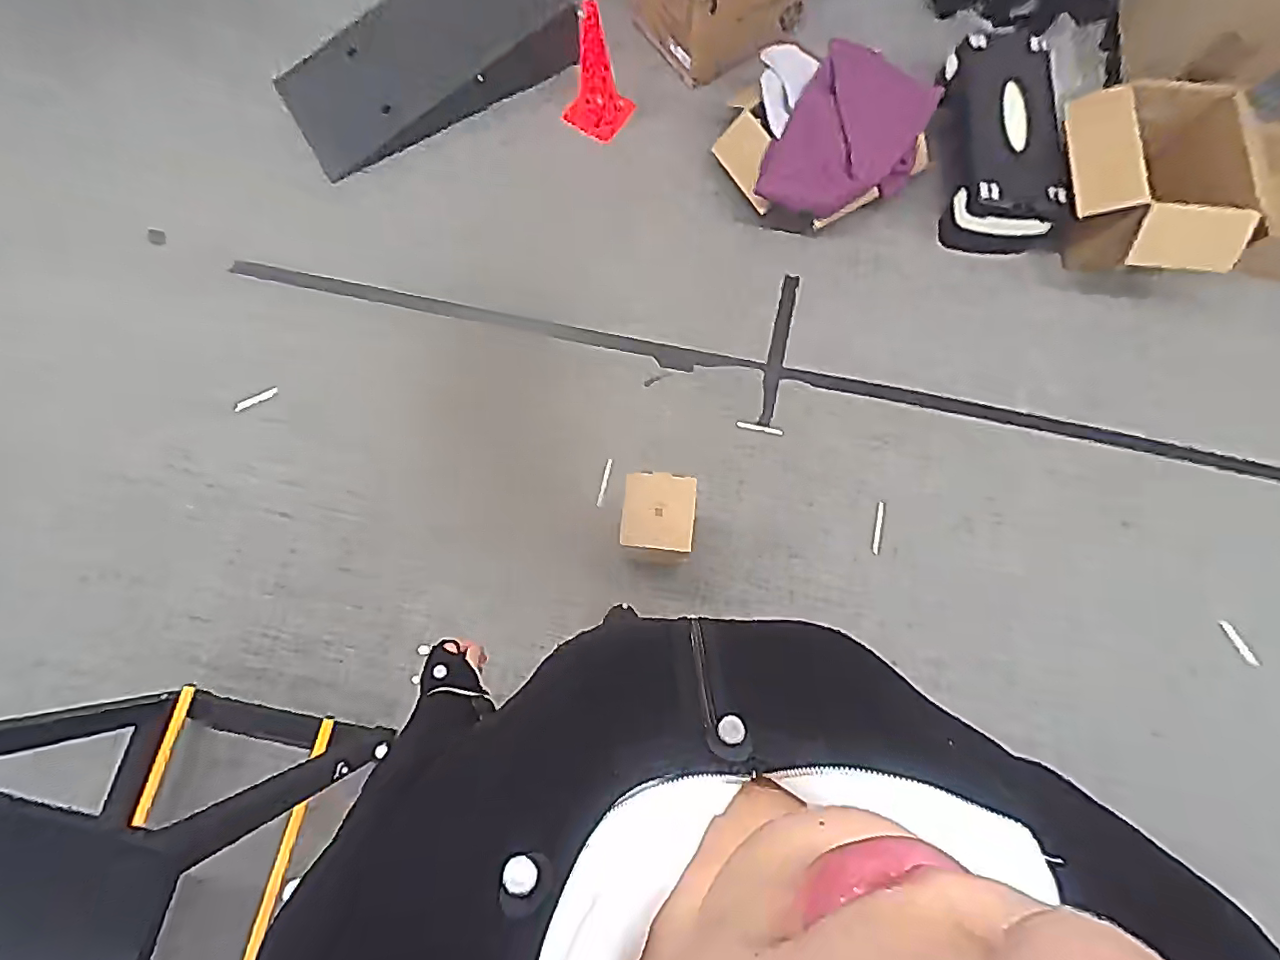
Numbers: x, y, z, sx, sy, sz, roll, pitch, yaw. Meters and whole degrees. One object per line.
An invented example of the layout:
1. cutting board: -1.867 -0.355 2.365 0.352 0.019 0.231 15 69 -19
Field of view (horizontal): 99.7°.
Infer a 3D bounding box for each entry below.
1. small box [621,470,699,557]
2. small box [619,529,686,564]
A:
1. small box: 0.046 0.085 1.313 0.168 0.176 0.179 6 78 2
2. small box: 0.043 0.133 1.468 0.179 0.176 0.168 9 77 2
